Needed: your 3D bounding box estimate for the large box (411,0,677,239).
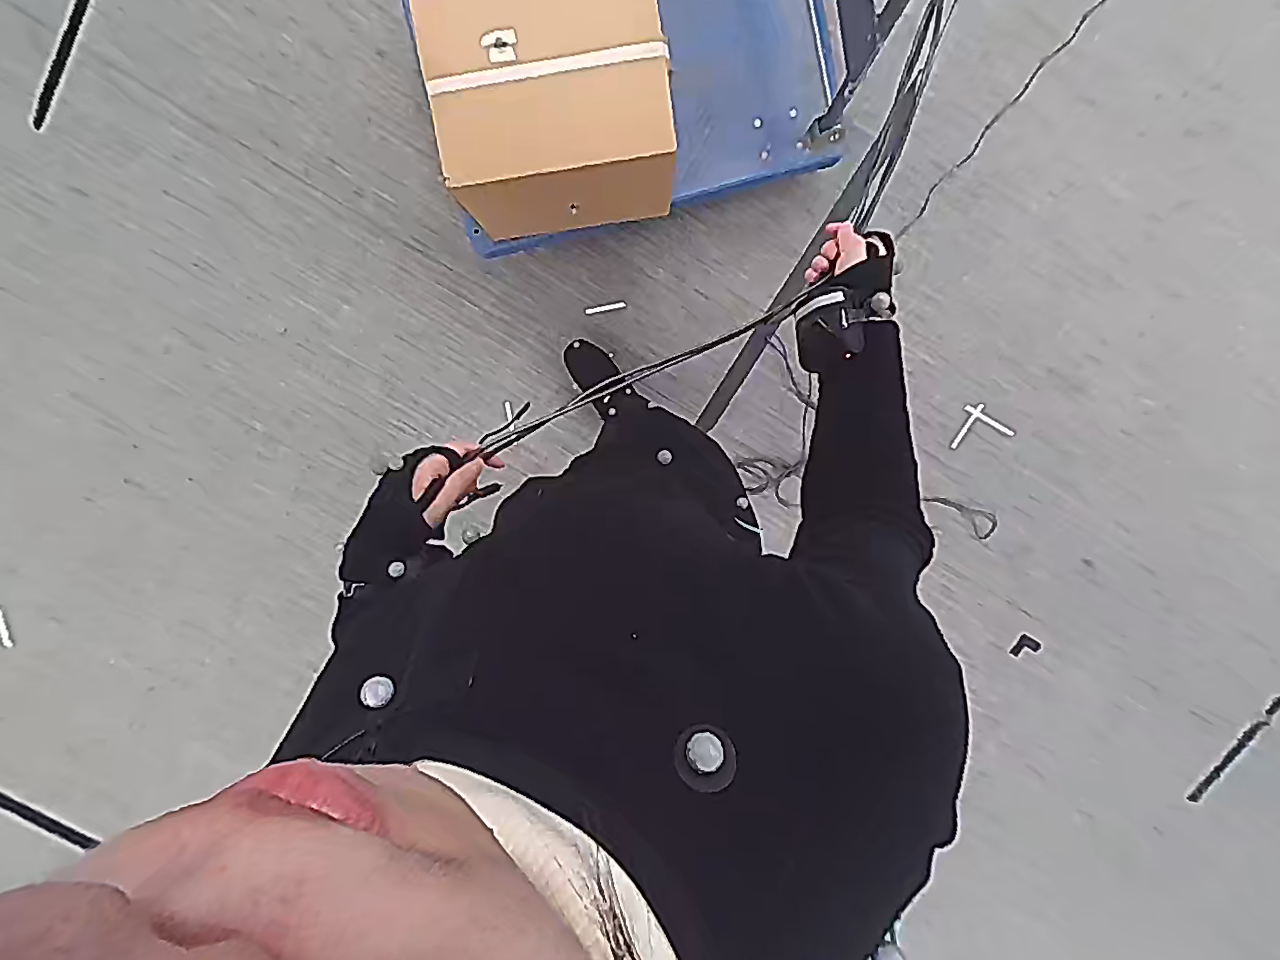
[{"bbox_3d":[-0.154,-0.694,1.041,0.408,0.320,0.320,-8,97,2],"label":"large box"}]
